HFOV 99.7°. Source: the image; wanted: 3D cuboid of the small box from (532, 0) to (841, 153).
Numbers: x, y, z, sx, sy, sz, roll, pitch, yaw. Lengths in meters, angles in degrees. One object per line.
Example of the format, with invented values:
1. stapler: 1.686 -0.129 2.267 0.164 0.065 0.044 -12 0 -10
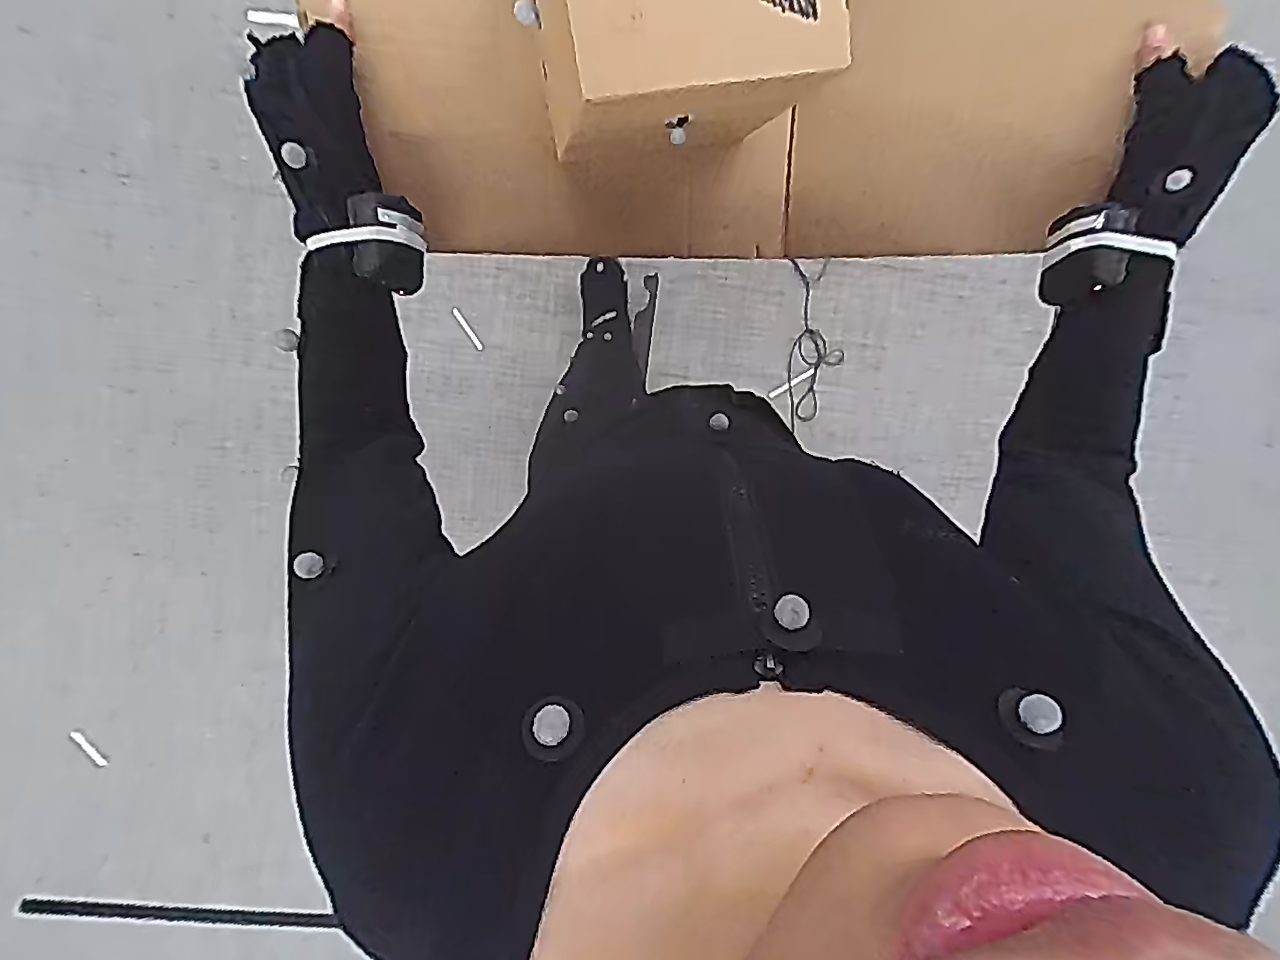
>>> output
1. small box: 0.019 -0.351 0.384 0.179 0.176 0.168 -13 111 -8
